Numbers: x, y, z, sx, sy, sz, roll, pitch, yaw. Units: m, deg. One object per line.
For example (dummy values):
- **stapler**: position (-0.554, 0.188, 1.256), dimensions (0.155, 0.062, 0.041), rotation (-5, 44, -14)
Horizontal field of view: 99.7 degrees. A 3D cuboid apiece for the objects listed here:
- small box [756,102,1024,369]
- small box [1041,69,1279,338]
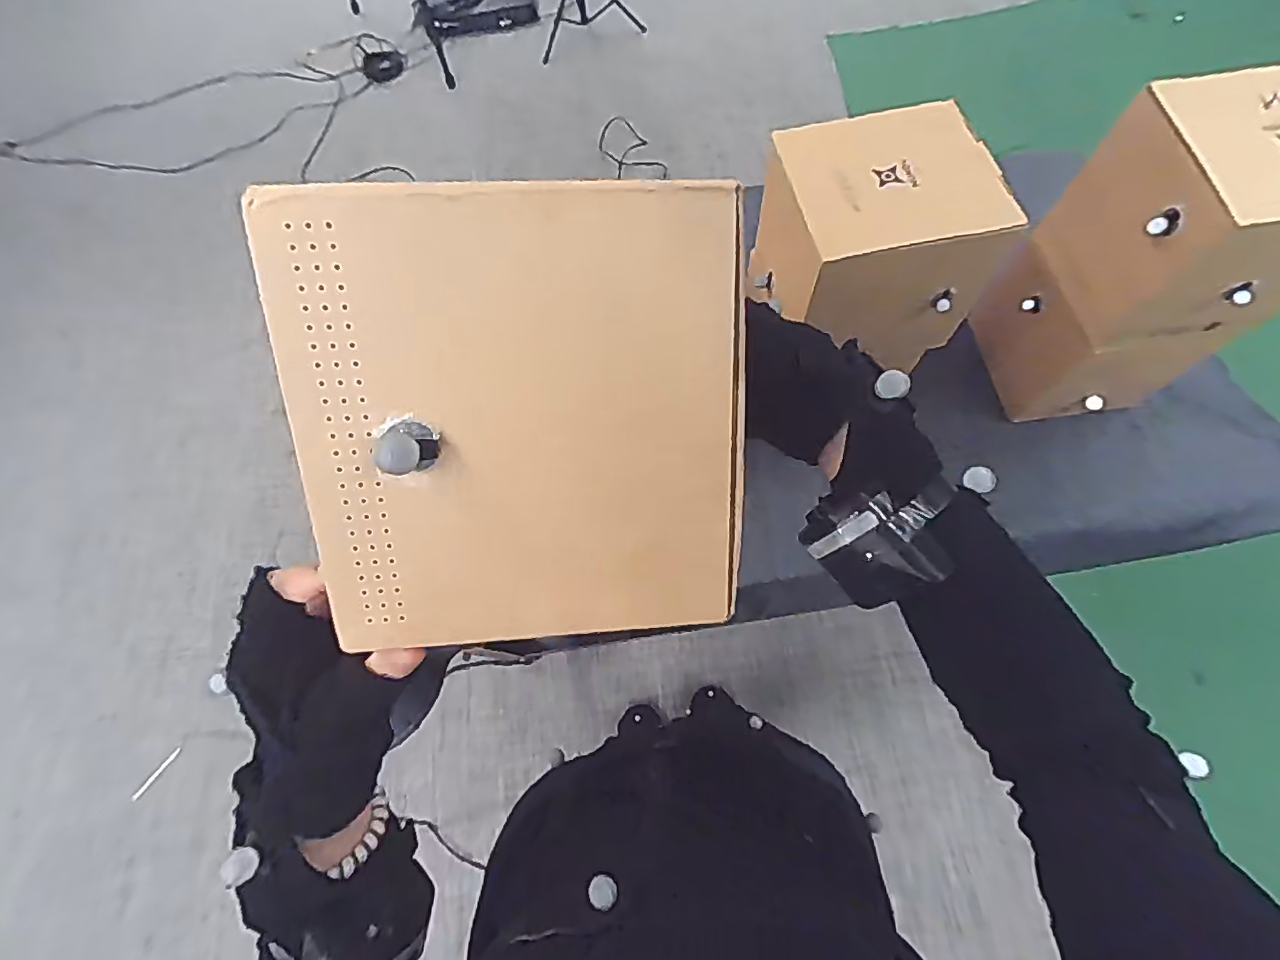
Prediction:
- **small box**: position (0.230, -0.237, 0.553), dimensions (0.179, 0.176, 0.168), rotation (-10, 67, 1)
- **small box**: position (0.550, -0.257, 0.532), dimensions (0.168, 0.176, 0.179), rotation (-6, 68, 3)
